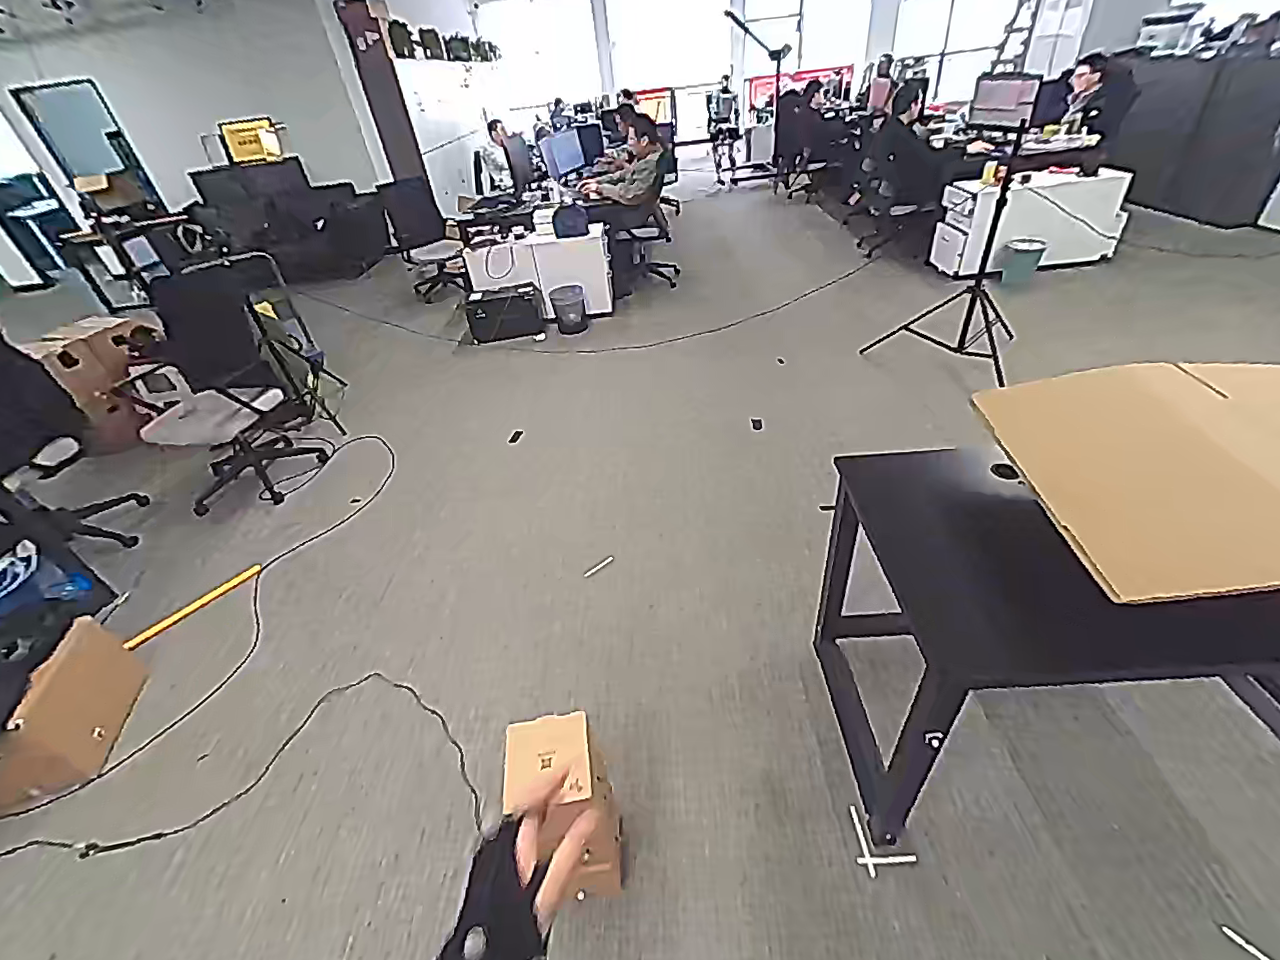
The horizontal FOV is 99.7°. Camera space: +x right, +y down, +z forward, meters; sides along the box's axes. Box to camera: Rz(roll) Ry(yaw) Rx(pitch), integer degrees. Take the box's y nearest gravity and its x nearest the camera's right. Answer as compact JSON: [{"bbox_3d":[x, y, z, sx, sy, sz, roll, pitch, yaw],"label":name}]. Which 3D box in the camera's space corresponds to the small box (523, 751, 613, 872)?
[{"bbox_3d":[-0.155,0.738,1.197,0.168,0.176,0.179,-8,36,-2],"label":"small box"}]

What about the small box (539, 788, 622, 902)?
[{"bbox_3d":[-0.136,0.870,1.289,0.168,0.176,0.179,-7,38,1],"label":"small box"}]

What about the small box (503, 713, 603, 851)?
[{"bbox_3d":[-0.171,0.610,1.095,0.168,0.176,0.179,-10,36,-3],"label":"small box"}]
